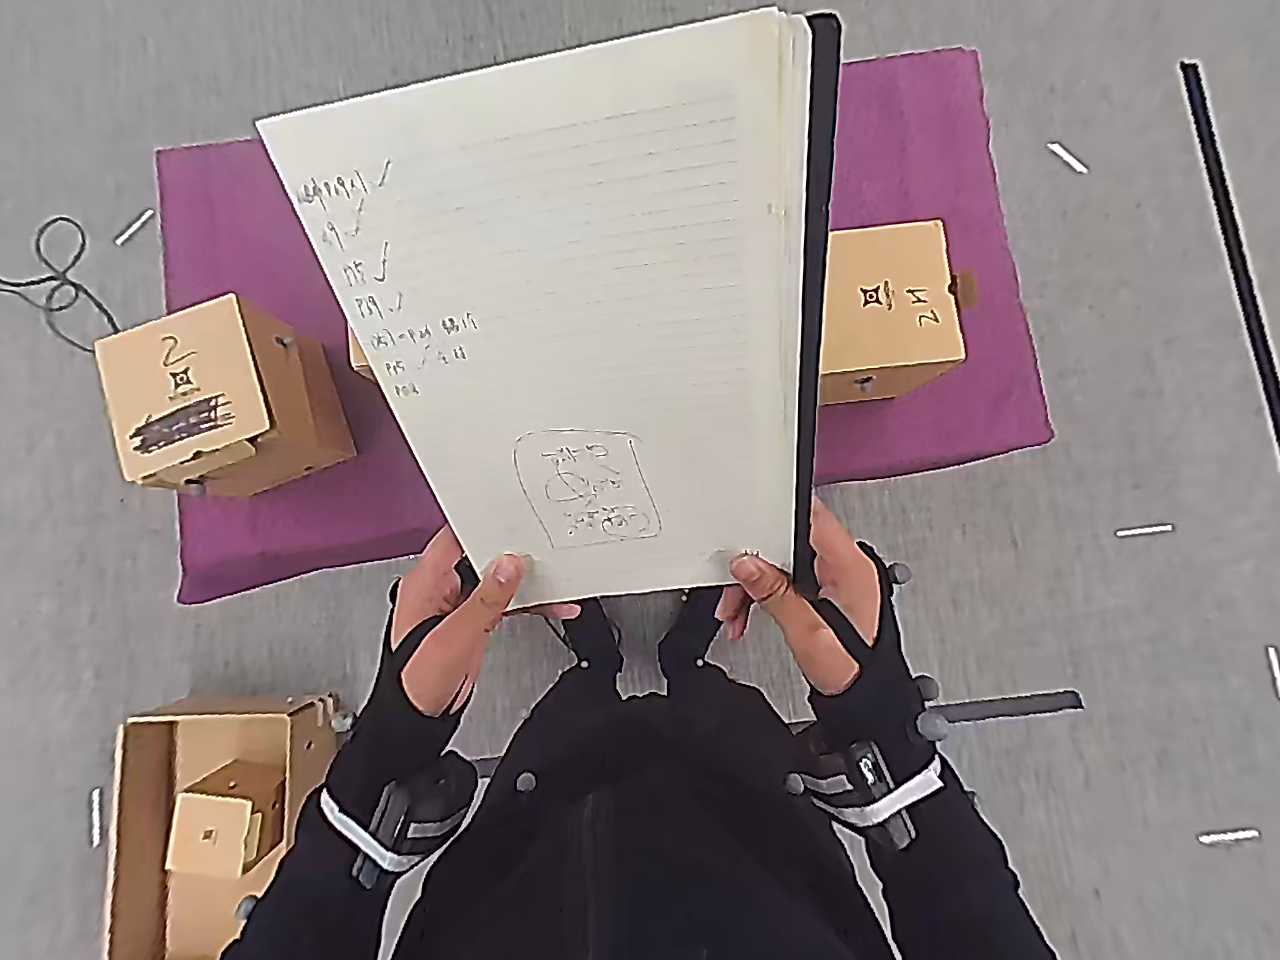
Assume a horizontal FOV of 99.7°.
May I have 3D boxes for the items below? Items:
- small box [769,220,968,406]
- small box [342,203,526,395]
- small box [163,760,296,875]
[{"bbox_3d":[0.267,-0.195,0.678,0.179,0.176,0.168,-5,85,0],"label":"small box"},{"bbox_3d":[-0.246,-0.212,0.682,0.168,0.176,0.179,-6,84,-1],"label":"small box"},{"bbox_3d":[-0.953,0.782,1.271,0.179,0.176,0.168,7,85,1],"label":"small box"}]
